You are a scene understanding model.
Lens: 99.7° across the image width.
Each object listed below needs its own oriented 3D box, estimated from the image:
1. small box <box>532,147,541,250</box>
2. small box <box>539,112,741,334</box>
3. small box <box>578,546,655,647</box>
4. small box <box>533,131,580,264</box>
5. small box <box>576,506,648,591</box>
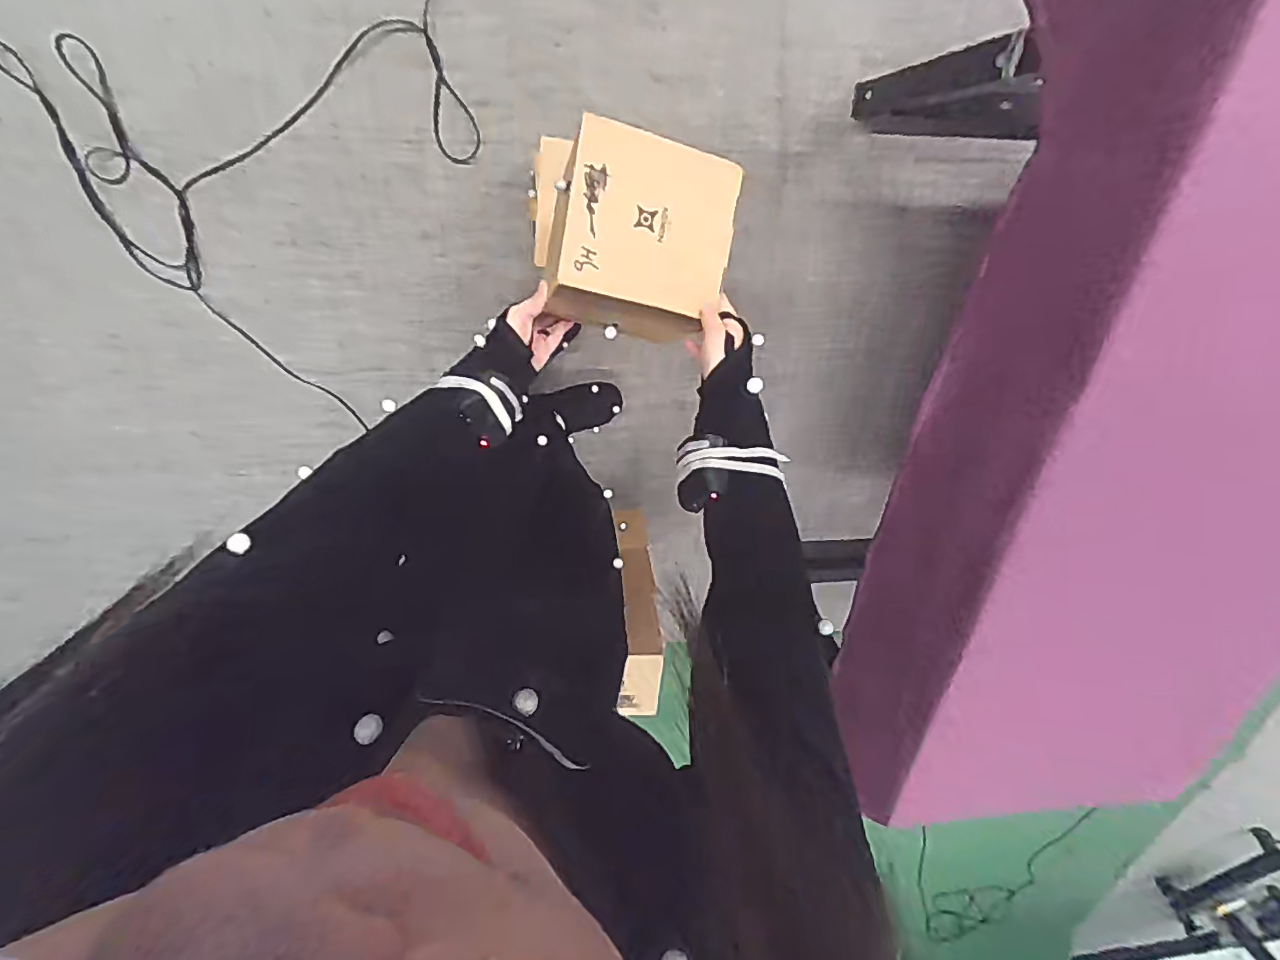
[{"bbox_3d":[-0.110,-0.515,1.013,0.179,0.176,0.168,1,120,-10],"label":"small box"},{"bbox_3d":[-0.011,-0.274,0.629,0.179,0.176,0.168,8,94,-18],"label":"small box"},{"bbox_3d":[-0.063,0.271,1.282,0.168,0.176,0.179,0,121,-7],"label":"small box"},{"bbox_3d":[-0.081,-0.440,0.868,0.168,0.176,0.179,4,119,-10],"label":"small box"},{"bbox_3d":[-0.081,0.182,1.417,0.168,0.176,0.179,2,120,-9],"label":"small box"}]
